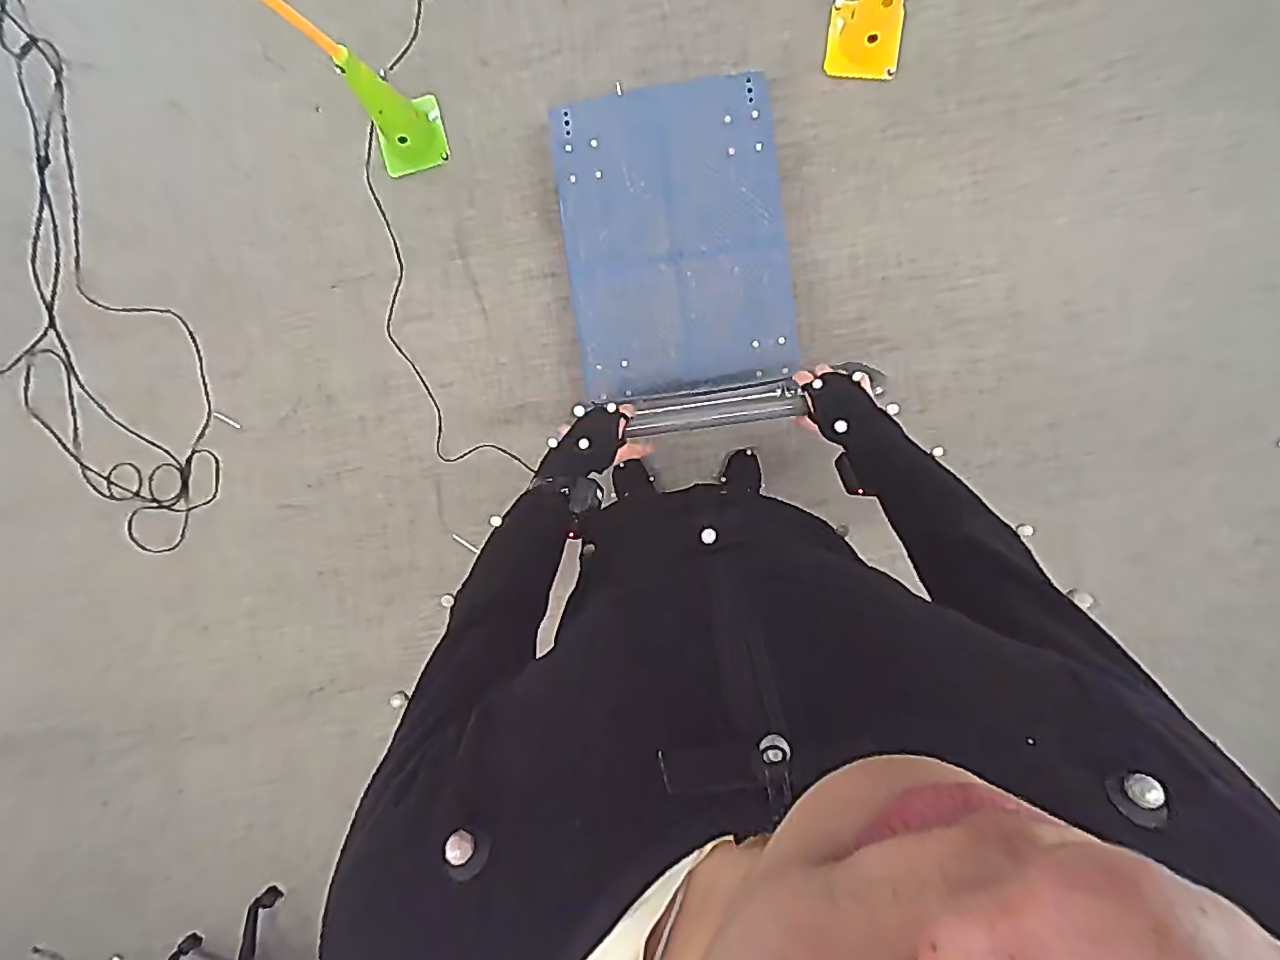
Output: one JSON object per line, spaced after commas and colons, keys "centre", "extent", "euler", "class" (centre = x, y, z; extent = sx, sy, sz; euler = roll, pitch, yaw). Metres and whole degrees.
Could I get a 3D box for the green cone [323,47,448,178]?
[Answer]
{"centre": [-0.697, -1.006, 1.433], "extent": [0.202, 0.368, 0.200], "euler": [-14, 92, 6], "class": "green cone"}
